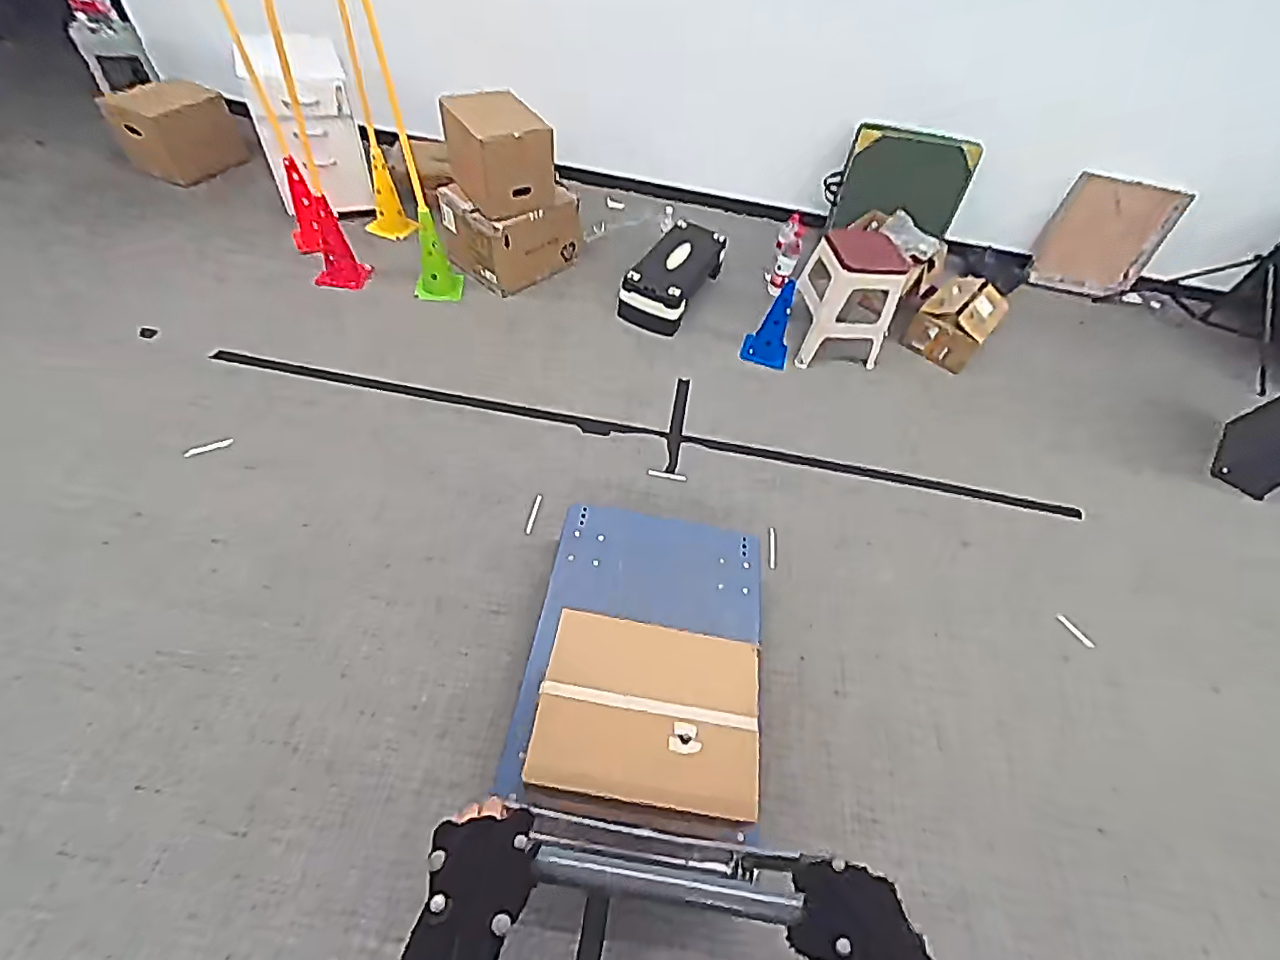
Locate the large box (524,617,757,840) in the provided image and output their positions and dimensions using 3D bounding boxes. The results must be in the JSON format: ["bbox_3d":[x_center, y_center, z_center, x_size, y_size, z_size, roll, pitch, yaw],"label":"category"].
[{"bbox_3d":[-0.005,0.514,1.104,0.408,0.320,0.320,11,53,-2],"label":"large box"}]
